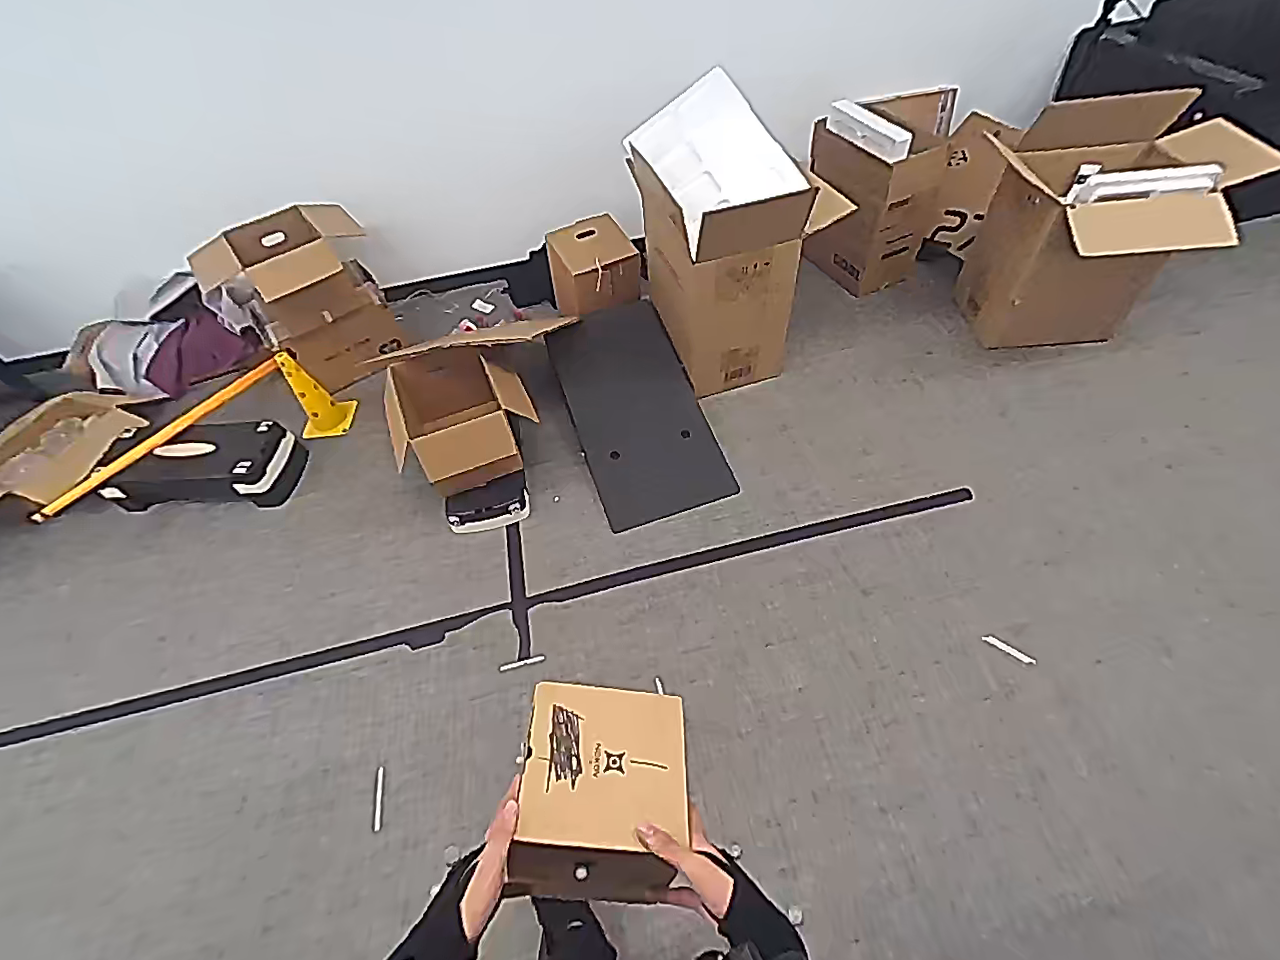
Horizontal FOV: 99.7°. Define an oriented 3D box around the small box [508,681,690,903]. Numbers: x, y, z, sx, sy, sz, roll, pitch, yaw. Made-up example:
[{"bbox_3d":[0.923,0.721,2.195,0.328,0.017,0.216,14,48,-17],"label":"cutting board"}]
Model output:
[{"bbox_3d":[-0.048,0.356,0.616,0.179,0.176,0.168,9,38,-6],"label":"small box"}]
